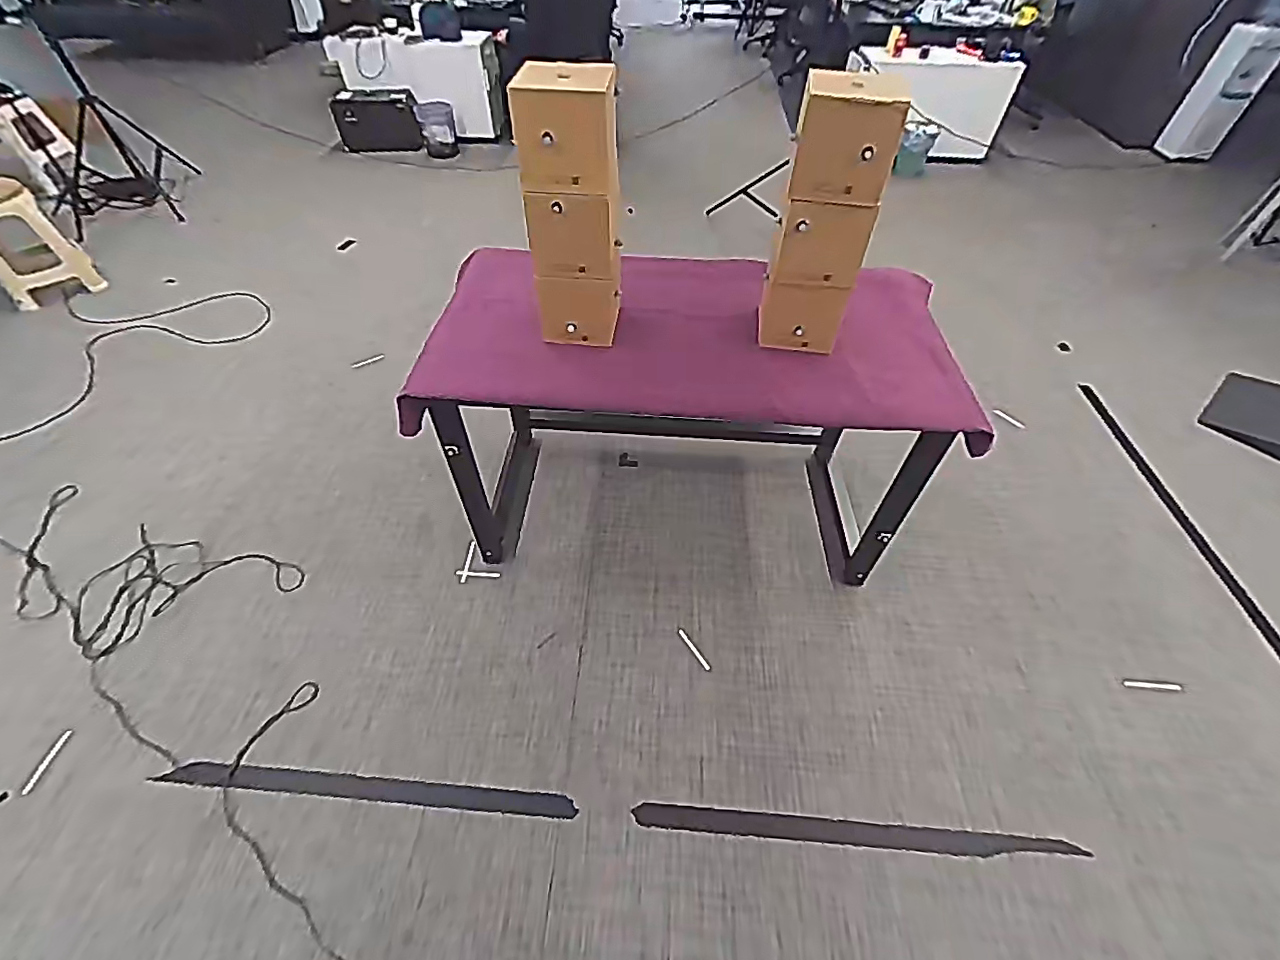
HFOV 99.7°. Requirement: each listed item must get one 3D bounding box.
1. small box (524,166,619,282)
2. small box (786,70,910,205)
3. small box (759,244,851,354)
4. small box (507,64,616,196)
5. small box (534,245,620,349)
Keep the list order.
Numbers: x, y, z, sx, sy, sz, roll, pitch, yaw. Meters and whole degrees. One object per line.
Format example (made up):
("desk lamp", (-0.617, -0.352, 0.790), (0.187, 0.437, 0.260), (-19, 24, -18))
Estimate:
("small box", (-0.133, -0.534, 1.118), (0.168, 0.176, 0.179), (3, 49, 2))
("small box", (0.370, -0.625, 0.991), (0.168, 0.176, 0.179), (9, 48, 6))
("small box", (0.371, -0.416, 1.243), (0.168, 0.176, 0.179), (7, 50, 6))
("small box", (-0.134, -0.643, 0.996), (0.168, 0.176, 0.179), (3, 49, 1))
("small box", (-0.137, -0.426, 1.241), (0.168, 0.176, 0.179), (4, 50, 3))
